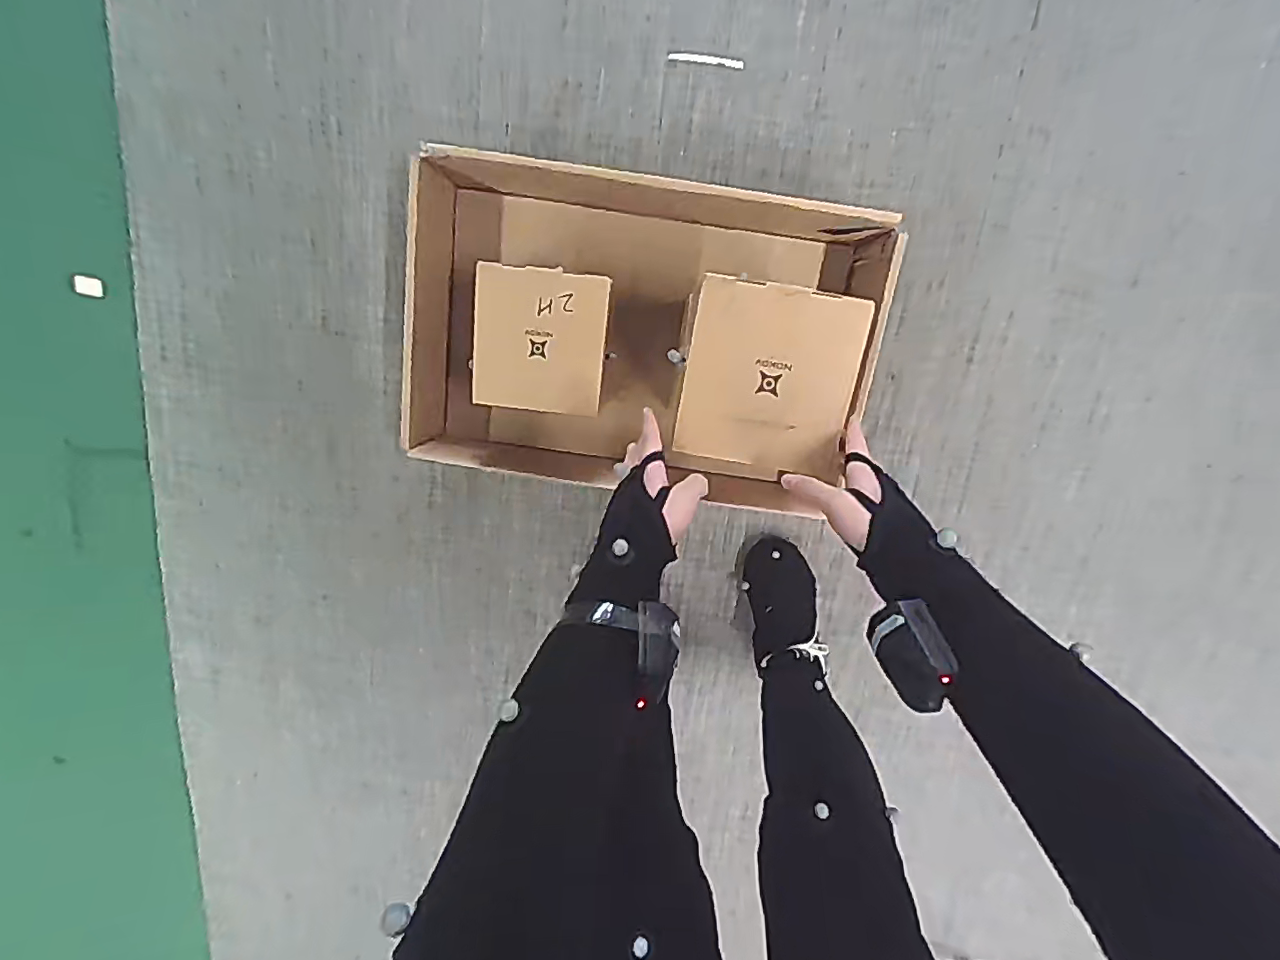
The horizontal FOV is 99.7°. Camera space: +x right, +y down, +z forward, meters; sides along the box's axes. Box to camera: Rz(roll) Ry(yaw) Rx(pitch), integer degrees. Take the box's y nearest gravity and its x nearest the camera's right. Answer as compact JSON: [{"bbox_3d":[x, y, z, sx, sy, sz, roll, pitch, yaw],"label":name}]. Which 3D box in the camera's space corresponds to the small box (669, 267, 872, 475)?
[{"bbox_3d":[0.126,-0.120,0.600,0.168,0.176,0.179,11,105,1],"label":"small box"}]
